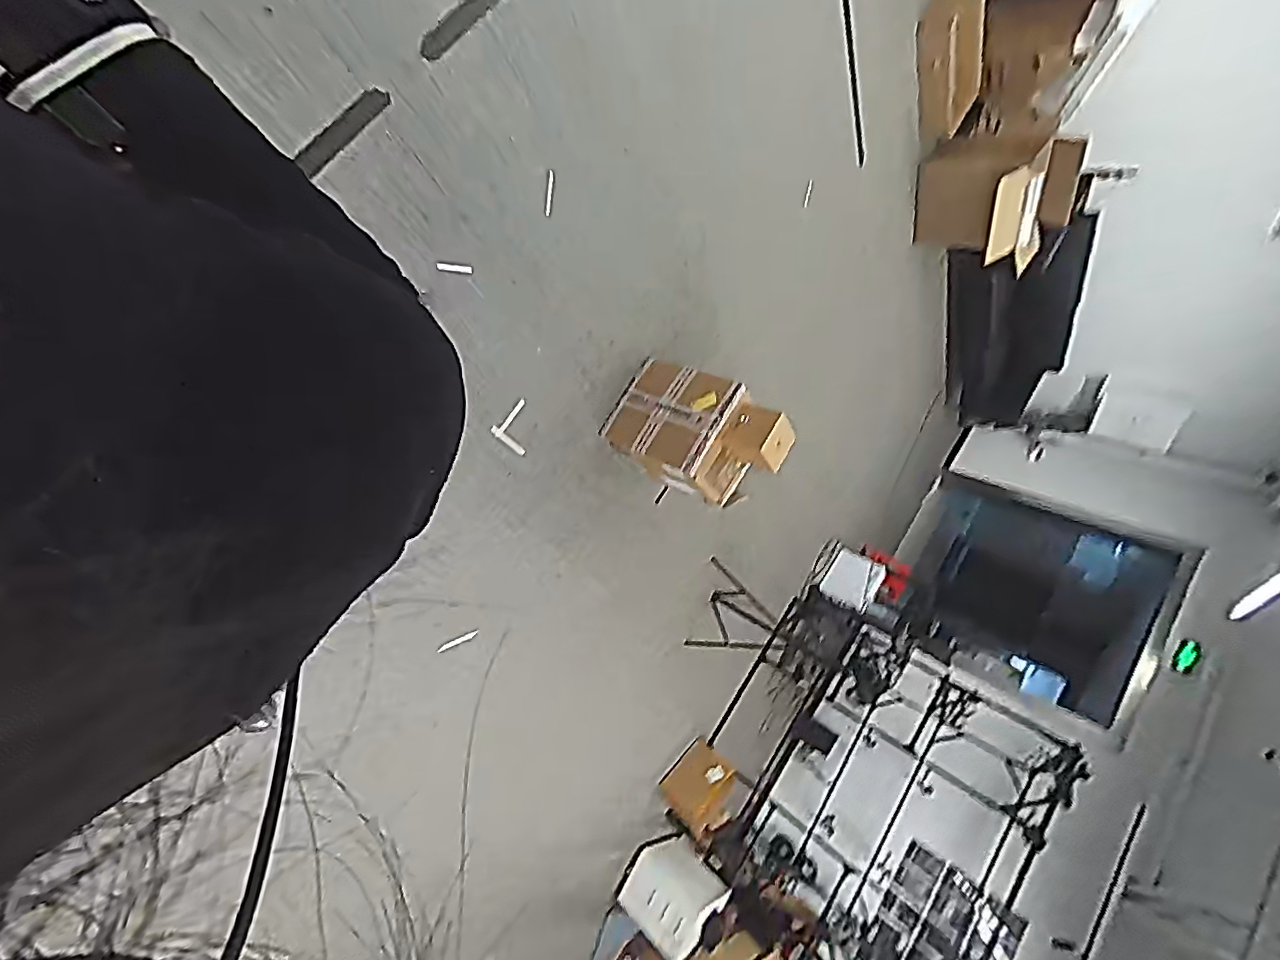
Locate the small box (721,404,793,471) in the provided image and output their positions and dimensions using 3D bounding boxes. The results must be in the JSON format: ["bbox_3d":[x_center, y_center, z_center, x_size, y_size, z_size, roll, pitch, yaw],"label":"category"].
[{"bbox_3d":[0.428,-0.160,1.979,0.179,0.176,0.168,41,76,-47],"label":"small box"}]
